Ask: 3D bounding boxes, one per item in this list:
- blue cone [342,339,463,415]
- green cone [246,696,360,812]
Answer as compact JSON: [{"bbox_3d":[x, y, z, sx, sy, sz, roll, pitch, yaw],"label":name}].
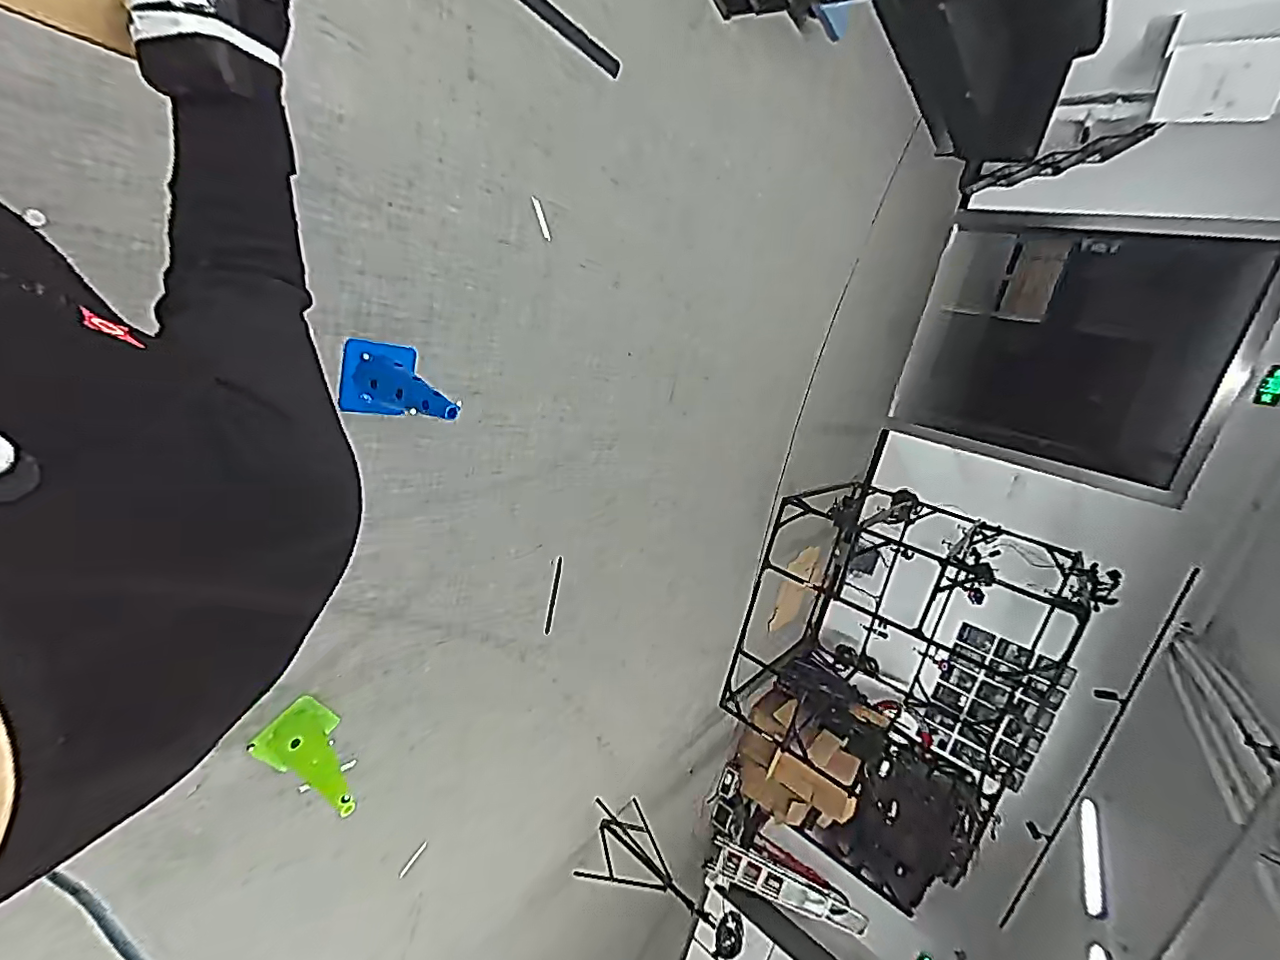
[{"bbox_3d":[-0.598,-0.235,1.417,0.192,0.380,0.193,-3,112,-55],"label":"blue cone"},{"bbox_3d":[-0.928,0.837,1.570,0.202,0.368,0.200,-47,143,-29],"label":"green cone"}]
